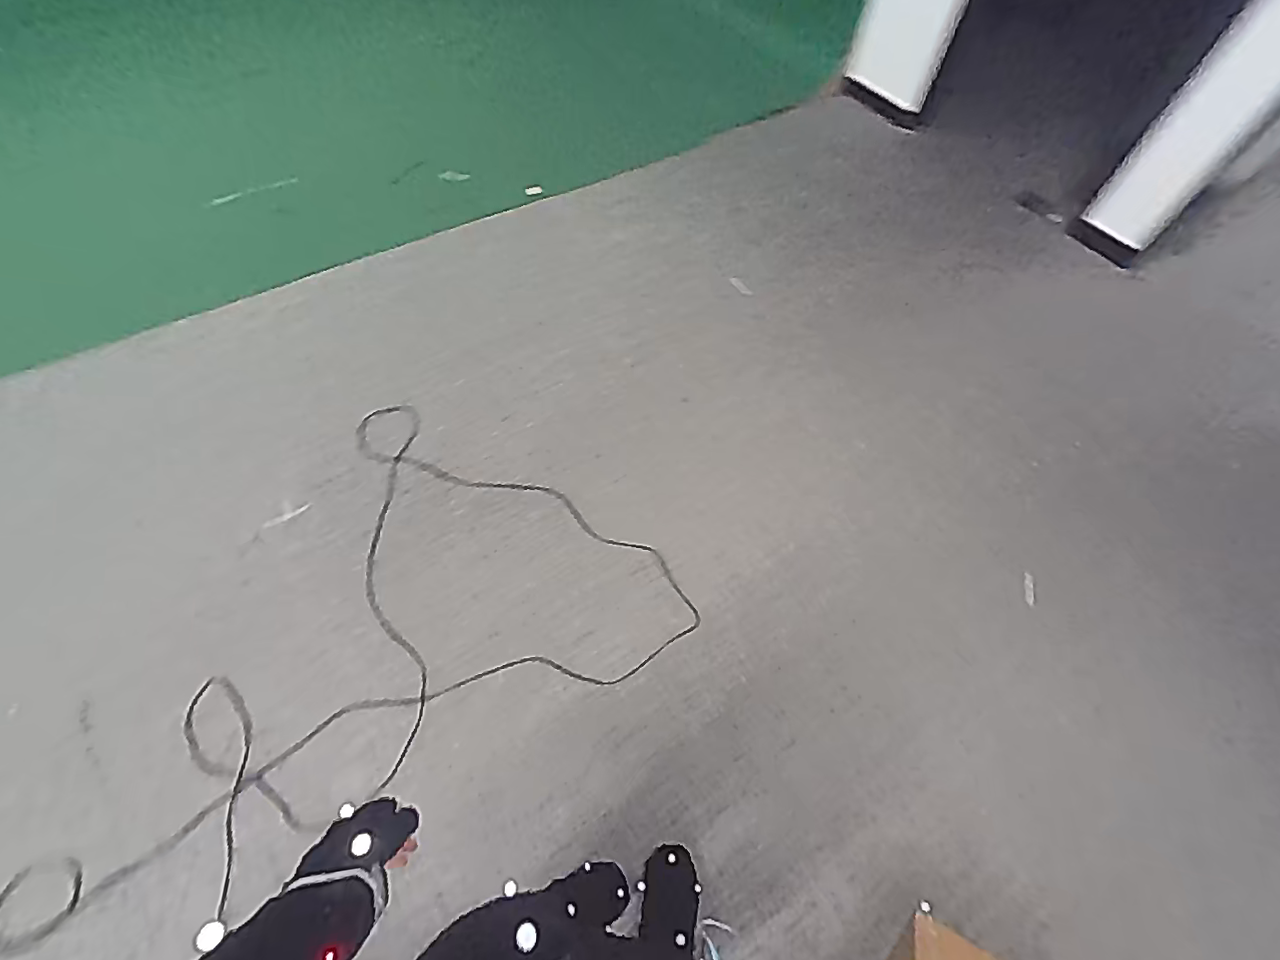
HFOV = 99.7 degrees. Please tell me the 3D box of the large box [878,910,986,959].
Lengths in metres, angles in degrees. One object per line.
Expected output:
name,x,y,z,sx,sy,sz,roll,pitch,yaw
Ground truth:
large box,0.382,0.832,0.586,0.320,0.408,0.320,27,100,23
